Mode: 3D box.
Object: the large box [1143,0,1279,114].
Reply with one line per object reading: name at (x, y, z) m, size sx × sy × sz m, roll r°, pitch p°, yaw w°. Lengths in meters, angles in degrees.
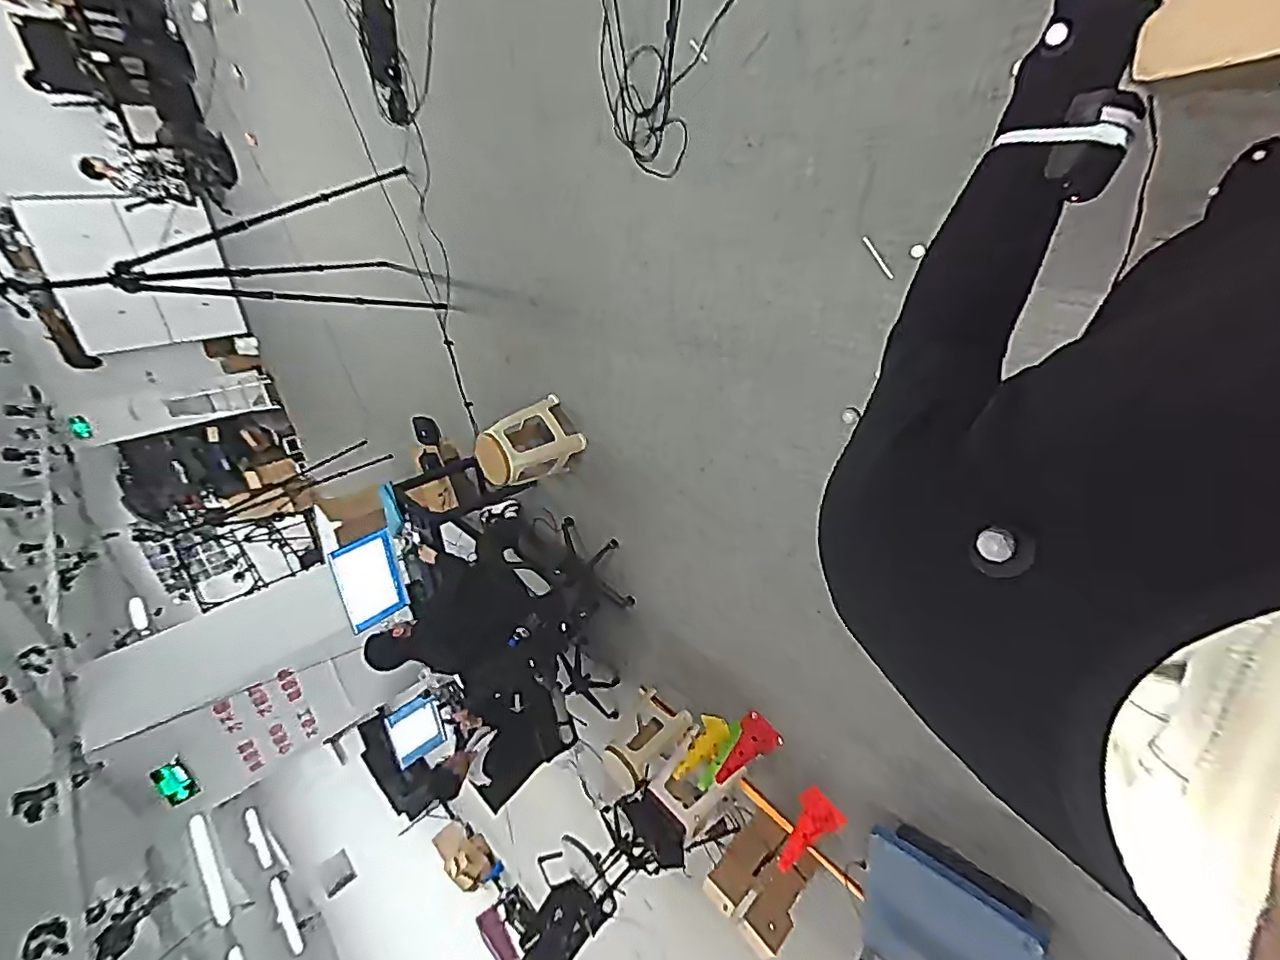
large box at (0.609, -0.458, 0.326) m, size 0.408 × 0.320 × 0.320 m, roll 14°, pitch 123°, yaw 40°
